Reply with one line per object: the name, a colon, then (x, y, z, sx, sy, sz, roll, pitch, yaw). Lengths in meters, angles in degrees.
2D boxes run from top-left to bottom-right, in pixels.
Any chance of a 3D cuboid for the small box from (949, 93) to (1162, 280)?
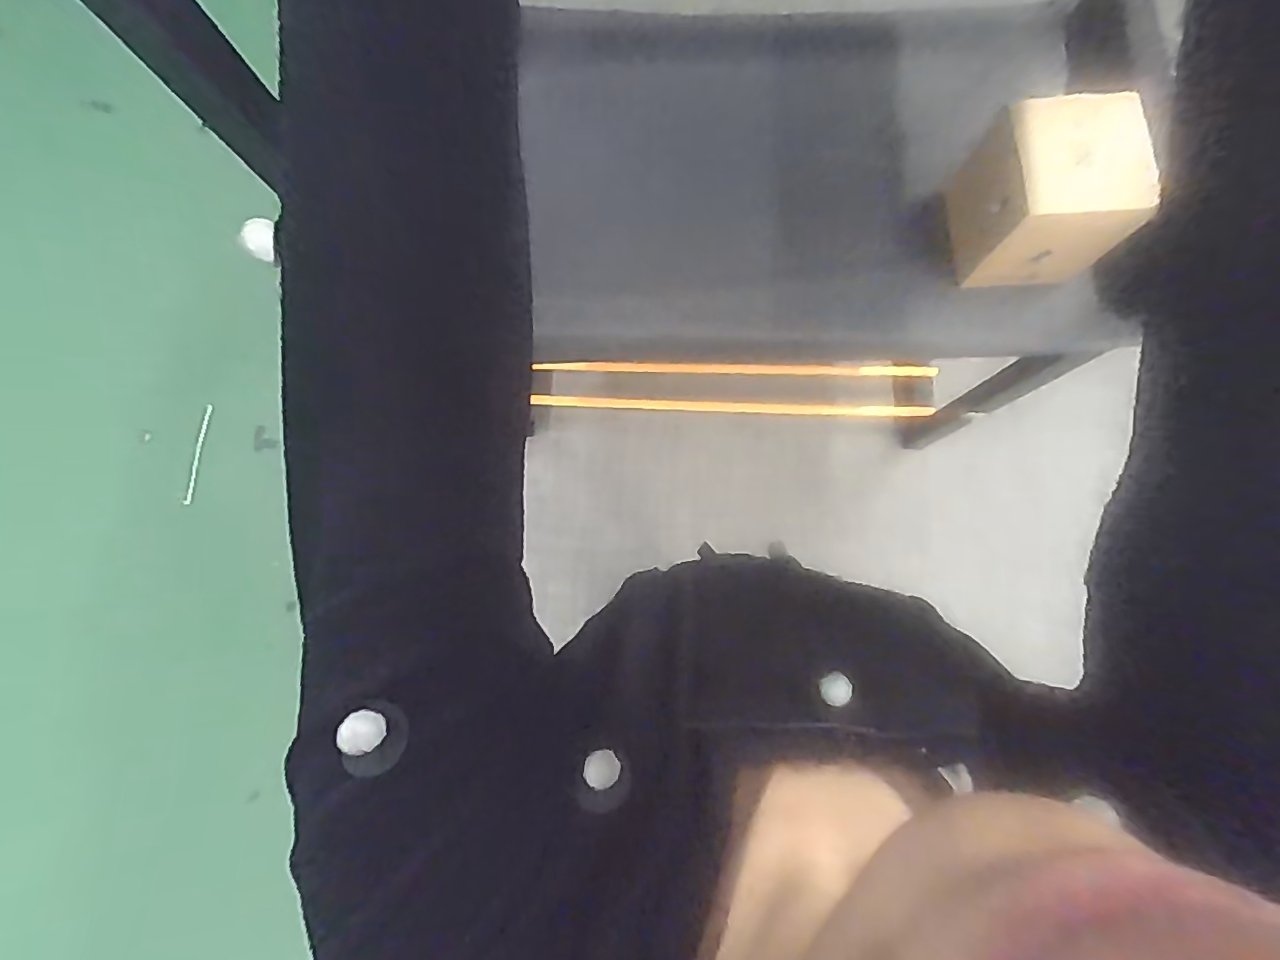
small box: (0.574, -0.403, 0.774, 0.168, 0.176, 0.179, -2, 78, 2)
